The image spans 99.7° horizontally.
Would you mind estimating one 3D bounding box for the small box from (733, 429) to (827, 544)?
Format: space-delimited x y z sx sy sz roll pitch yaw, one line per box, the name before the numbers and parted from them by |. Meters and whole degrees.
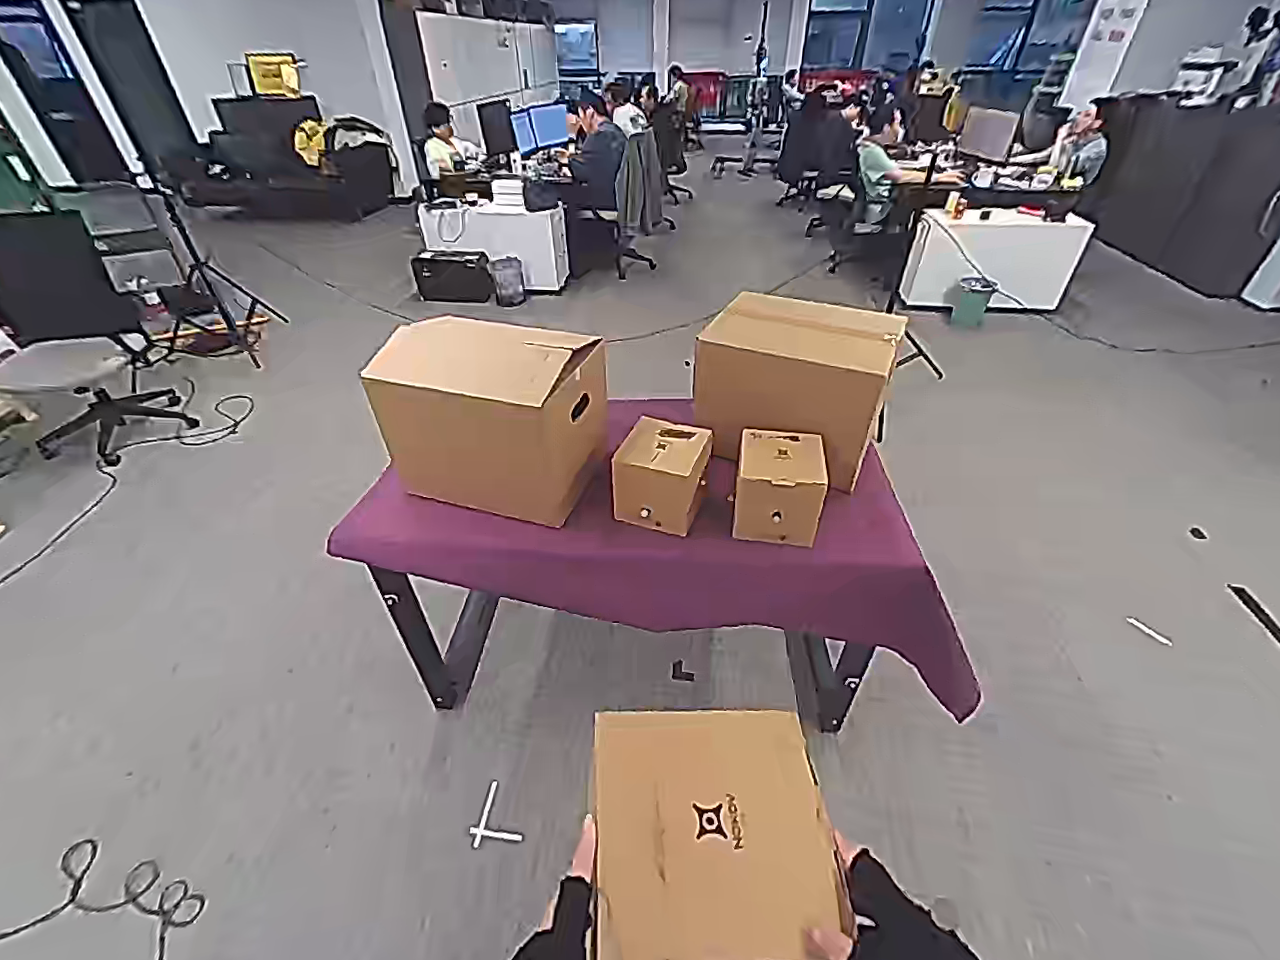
small box | 0.288 0.014 1.134 0.168 0.176 0.179 6 39 8
